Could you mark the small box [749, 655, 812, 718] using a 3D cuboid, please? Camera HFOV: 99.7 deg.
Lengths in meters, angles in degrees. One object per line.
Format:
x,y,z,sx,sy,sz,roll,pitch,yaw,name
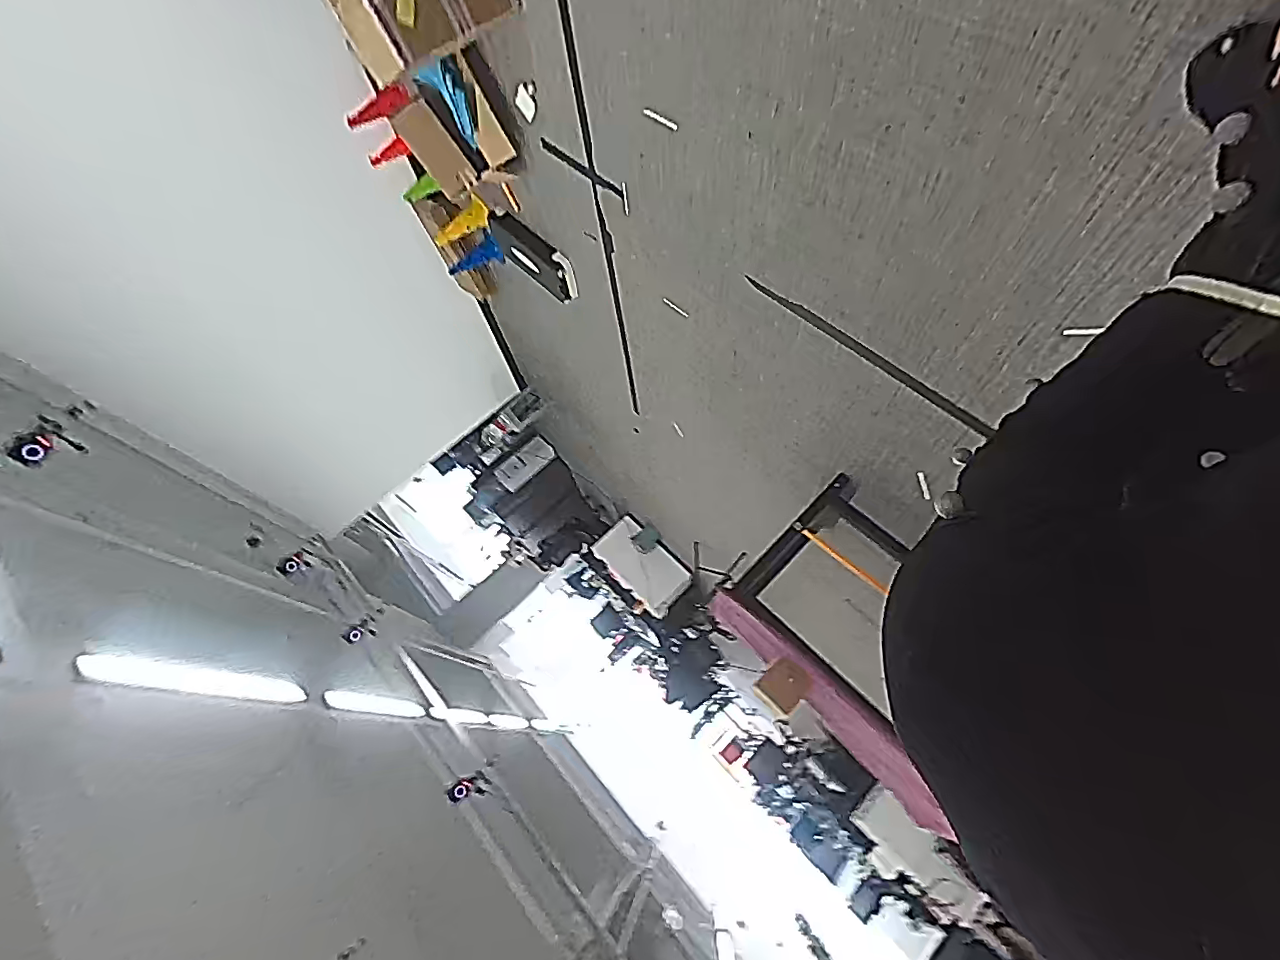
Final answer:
0.565,0.831,2.176,0.168,0.176,0.179,42,164,20,small box
